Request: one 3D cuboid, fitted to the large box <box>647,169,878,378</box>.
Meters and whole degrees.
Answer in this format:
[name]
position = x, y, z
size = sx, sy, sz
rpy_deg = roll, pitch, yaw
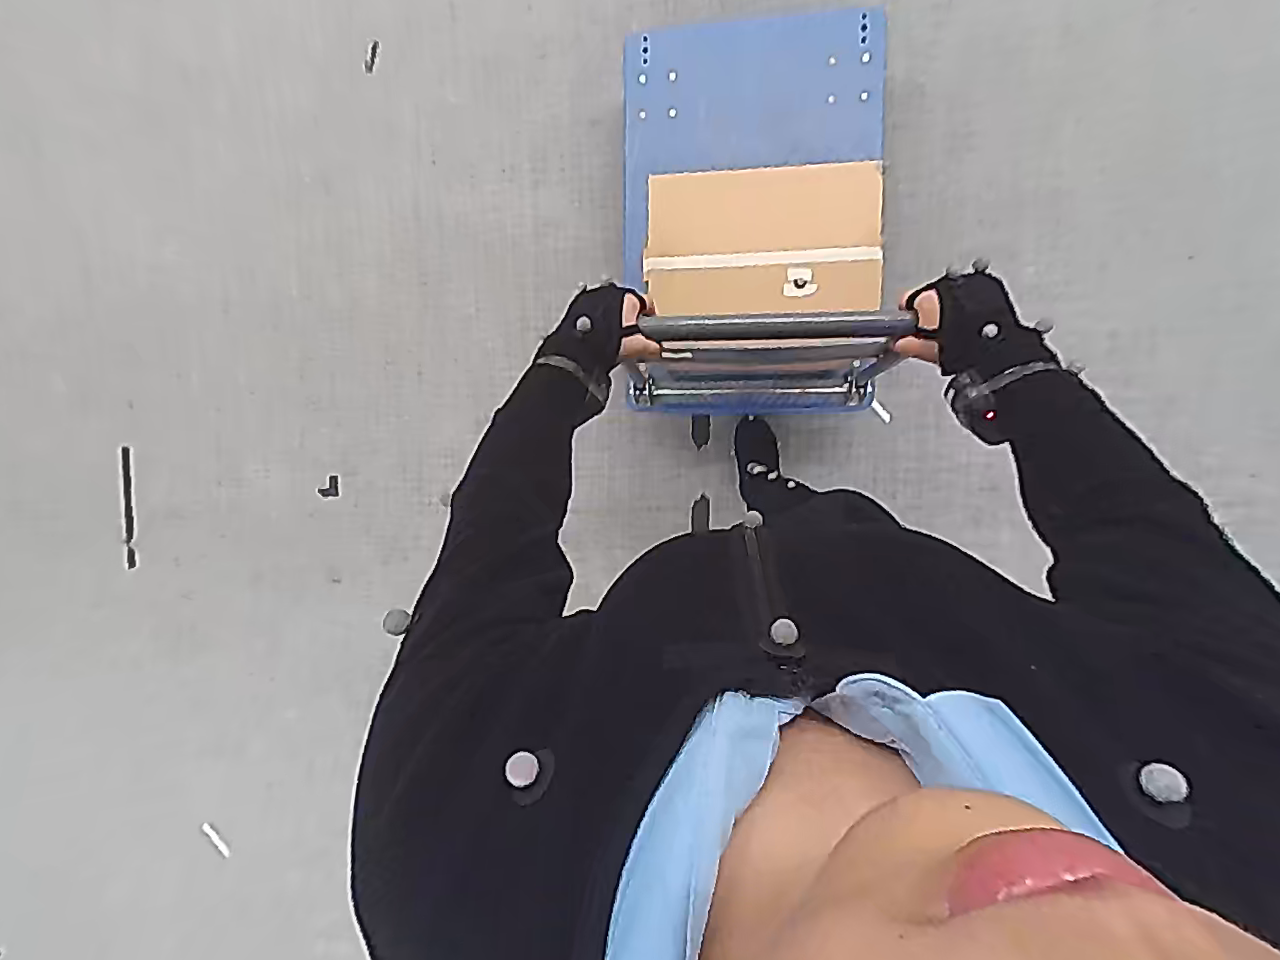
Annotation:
[large box]
position = 0.229, -0.387, 1.103
size = 0.408, 0.320, 0.320
rpy_deg = 0, 94, 7
